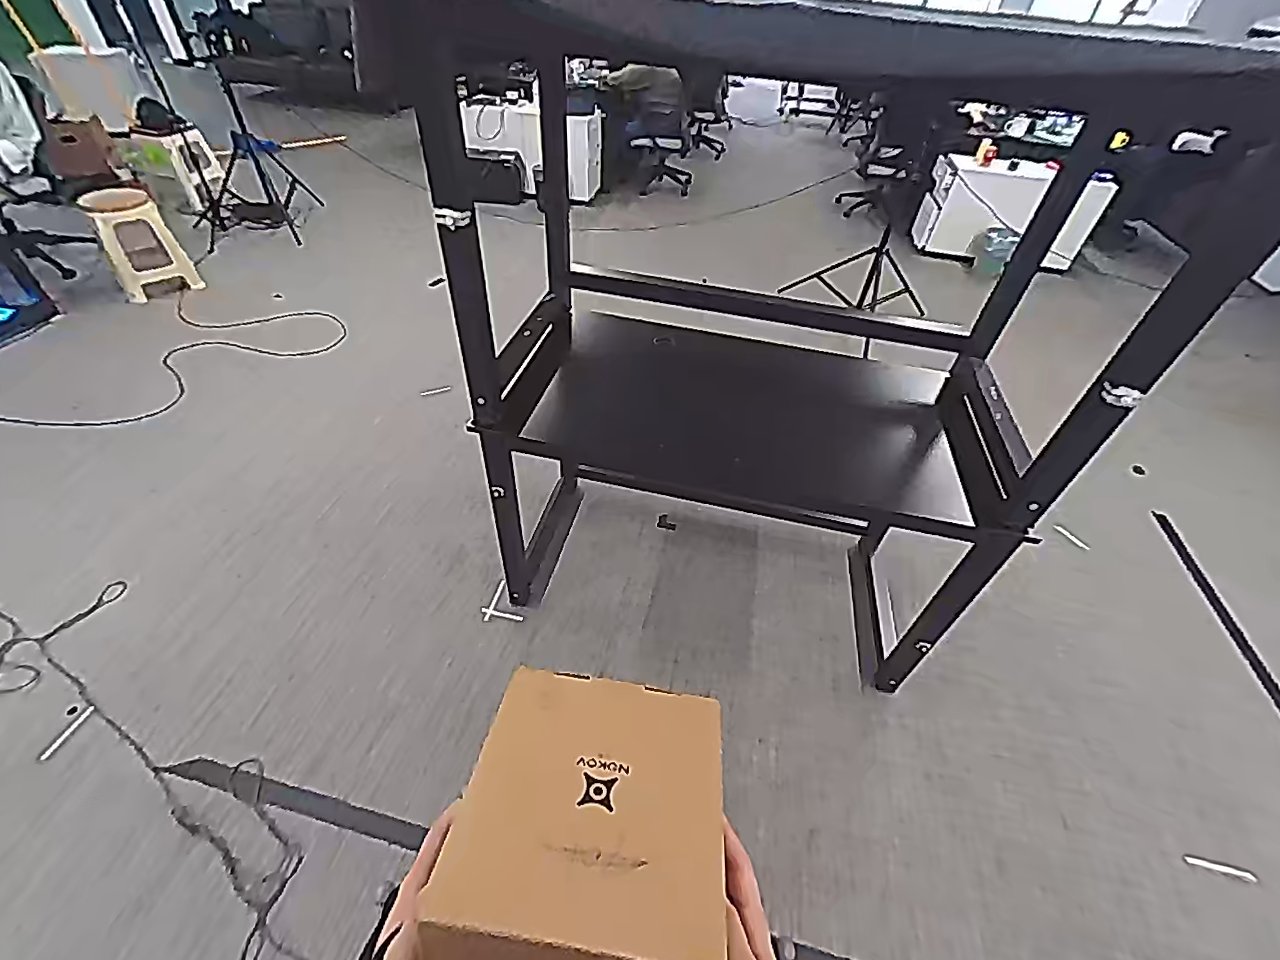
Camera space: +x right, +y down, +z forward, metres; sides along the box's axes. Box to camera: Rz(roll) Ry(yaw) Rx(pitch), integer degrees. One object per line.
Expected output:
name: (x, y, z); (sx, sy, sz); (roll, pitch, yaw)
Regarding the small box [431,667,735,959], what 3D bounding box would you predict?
small box: (-0.032, 0.270, 0.388); (0.168, 0.176, 0.179); (8, 28, 2)
